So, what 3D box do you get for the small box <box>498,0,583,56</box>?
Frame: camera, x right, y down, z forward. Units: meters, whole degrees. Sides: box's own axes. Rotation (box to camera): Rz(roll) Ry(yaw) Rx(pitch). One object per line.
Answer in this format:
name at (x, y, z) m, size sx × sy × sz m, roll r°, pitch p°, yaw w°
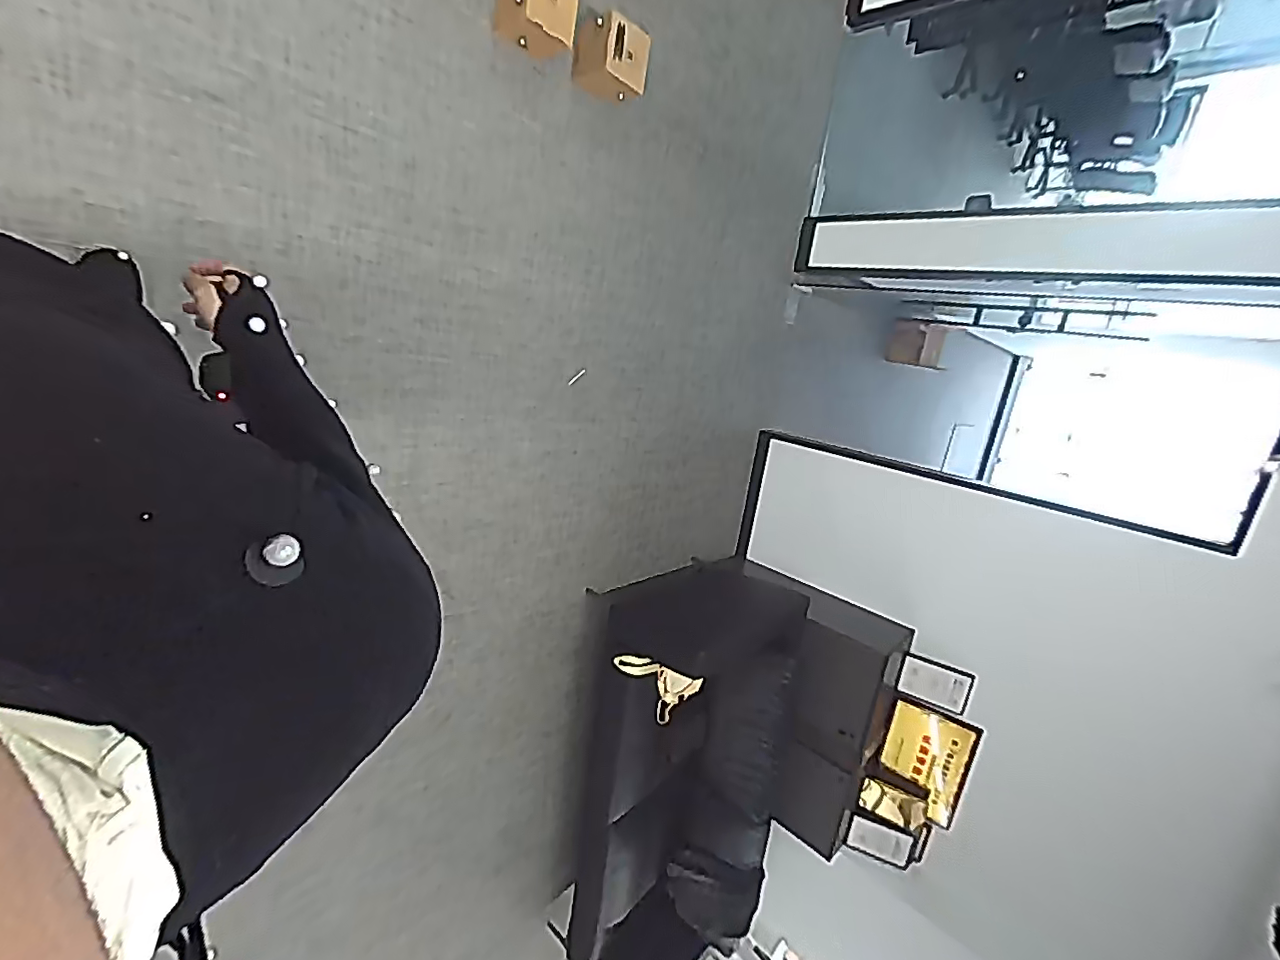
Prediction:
small box at (-0.283, -1.355, 1.533) m, size 0.168 × 0.176 × 0.179 m, roll -3°, pitch 109°, yaw -47°
